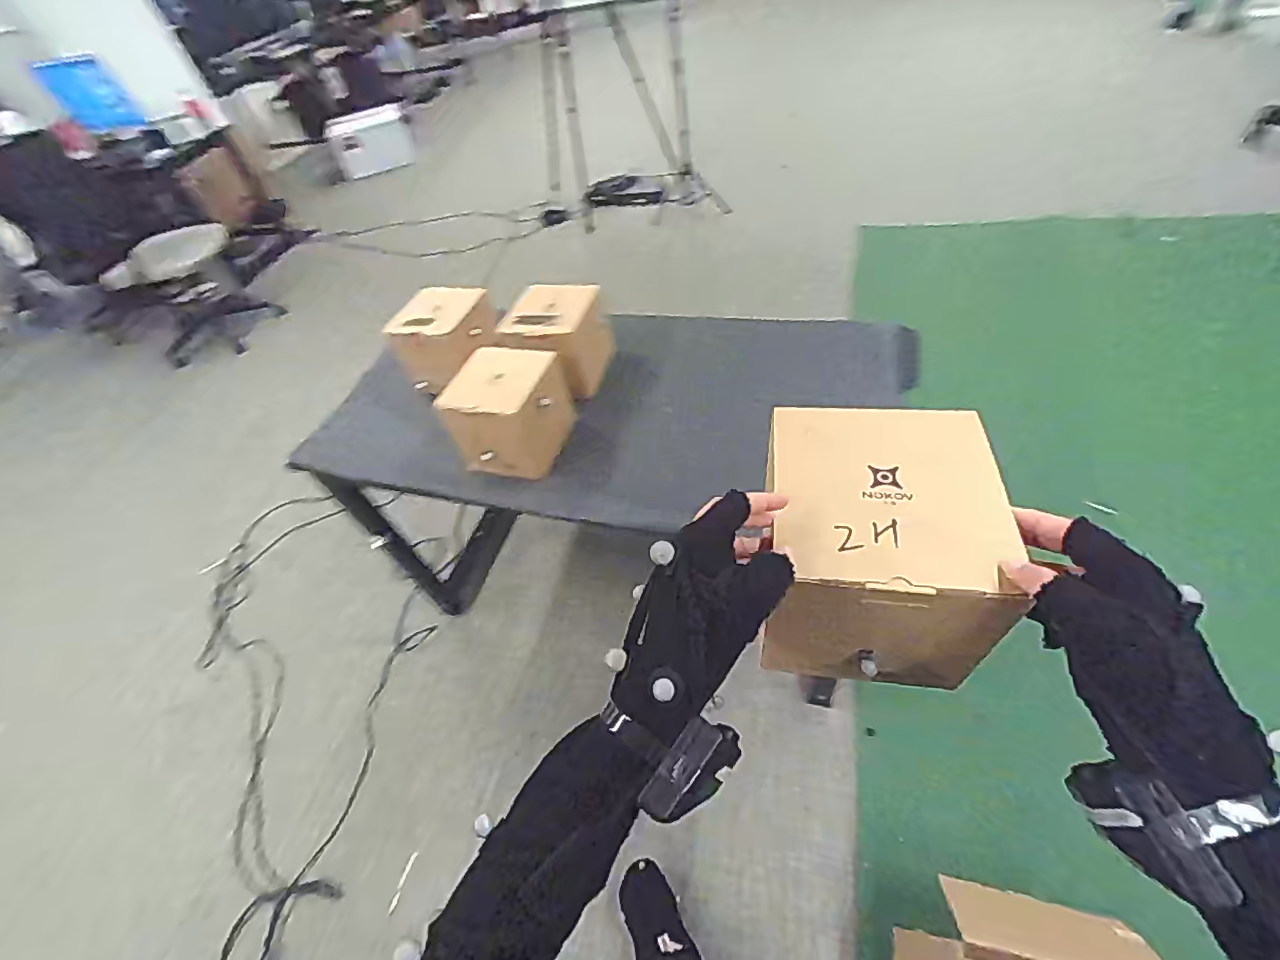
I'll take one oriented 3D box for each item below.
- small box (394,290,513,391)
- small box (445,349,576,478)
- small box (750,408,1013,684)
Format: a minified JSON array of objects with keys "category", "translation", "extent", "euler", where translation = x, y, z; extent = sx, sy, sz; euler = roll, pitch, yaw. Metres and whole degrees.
[{"category":"small box","translation":[-0.415,-0.315,1.242],"extent":[0.168,0.176,0.179],"euler":[8,51,18]},{"category":"small box","translation":[-0.236,-0.130,1.047],"extent":[0.168,0.176,0.179],"euler":[9,51,18]},{"category":"small box","translation":[0.185,0.056,0.478],"extent":[0.168,0.176,0.179],"euler":[1,49,11]}]
